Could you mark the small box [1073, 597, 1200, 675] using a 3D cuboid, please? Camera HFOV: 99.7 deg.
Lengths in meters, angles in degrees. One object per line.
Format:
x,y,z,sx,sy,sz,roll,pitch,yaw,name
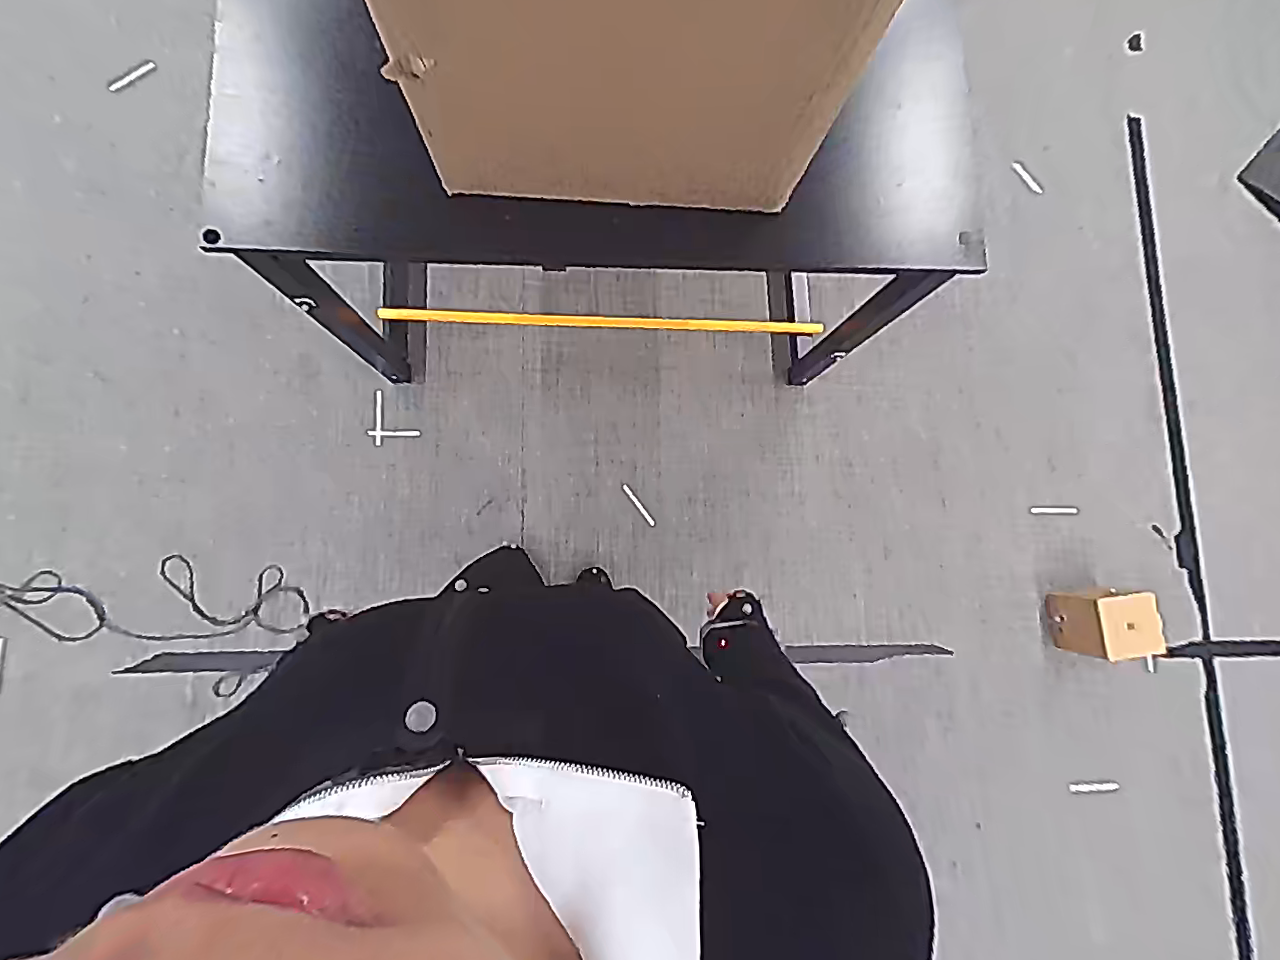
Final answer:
1.334,0.415,1.463,0.179,0.176,0.168,-7,84,-5,small box
